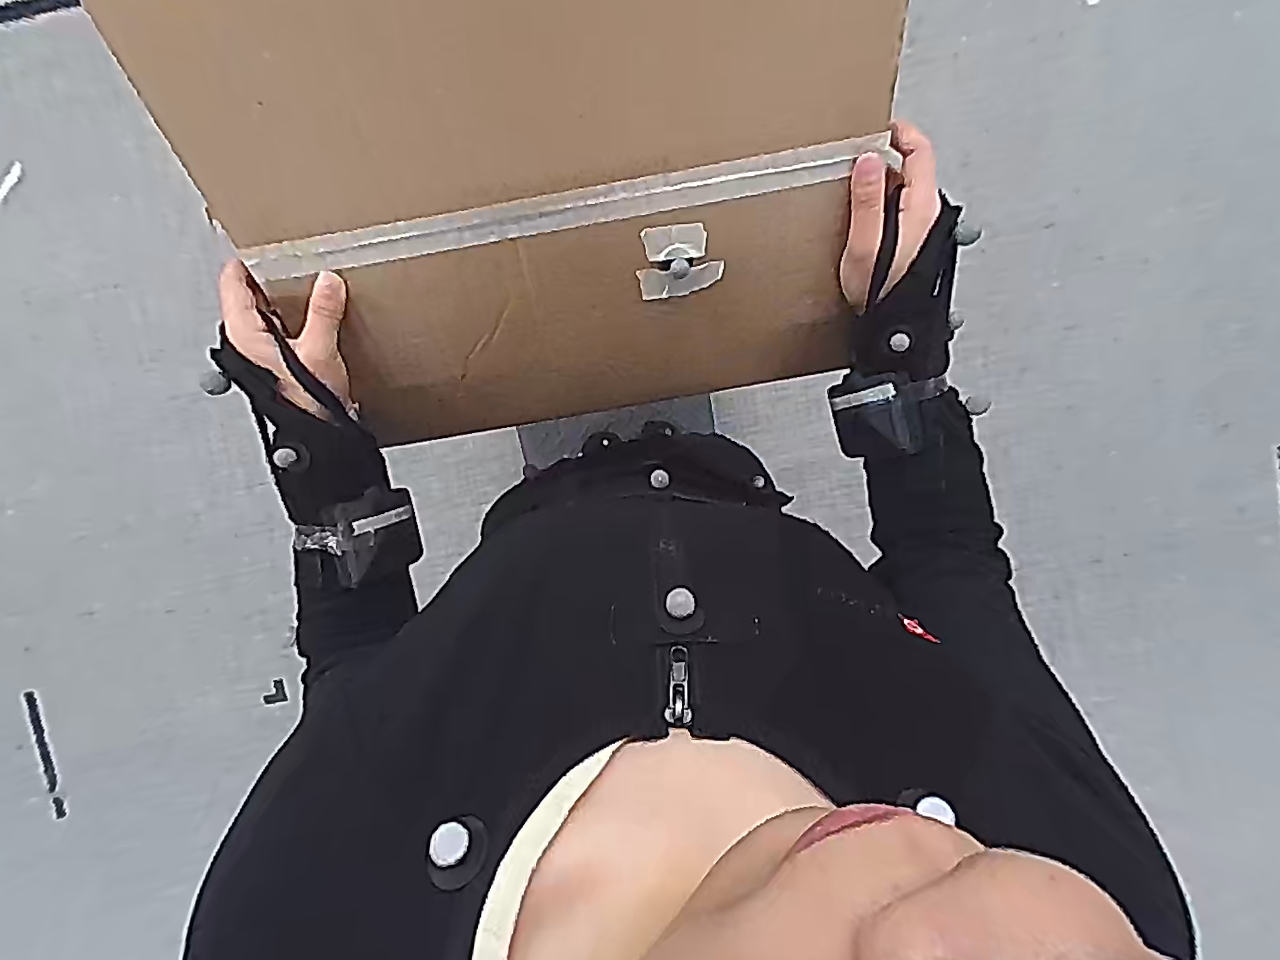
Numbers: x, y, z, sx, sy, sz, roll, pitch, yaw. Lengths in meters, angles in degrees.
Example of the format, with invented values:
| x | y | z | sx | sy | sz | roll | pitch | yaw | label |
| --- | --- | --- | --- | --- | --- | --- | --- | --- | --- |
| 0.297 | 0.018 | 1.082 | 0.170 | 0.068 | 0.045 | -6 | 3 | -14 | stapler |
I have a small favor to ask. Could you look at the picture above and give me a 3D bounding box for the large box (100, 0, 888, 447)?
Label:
| x | y | z | sx | sy | sz | roll | pitch | yaw | label |
| --- | --- | --- | --- | --- | --- | --- | --- | --- | --- |
| -0.068 | -0.274 | 0.458 | 0.408 | 0.320 | 0.320 | -11 | 134 | 0 | large box |
